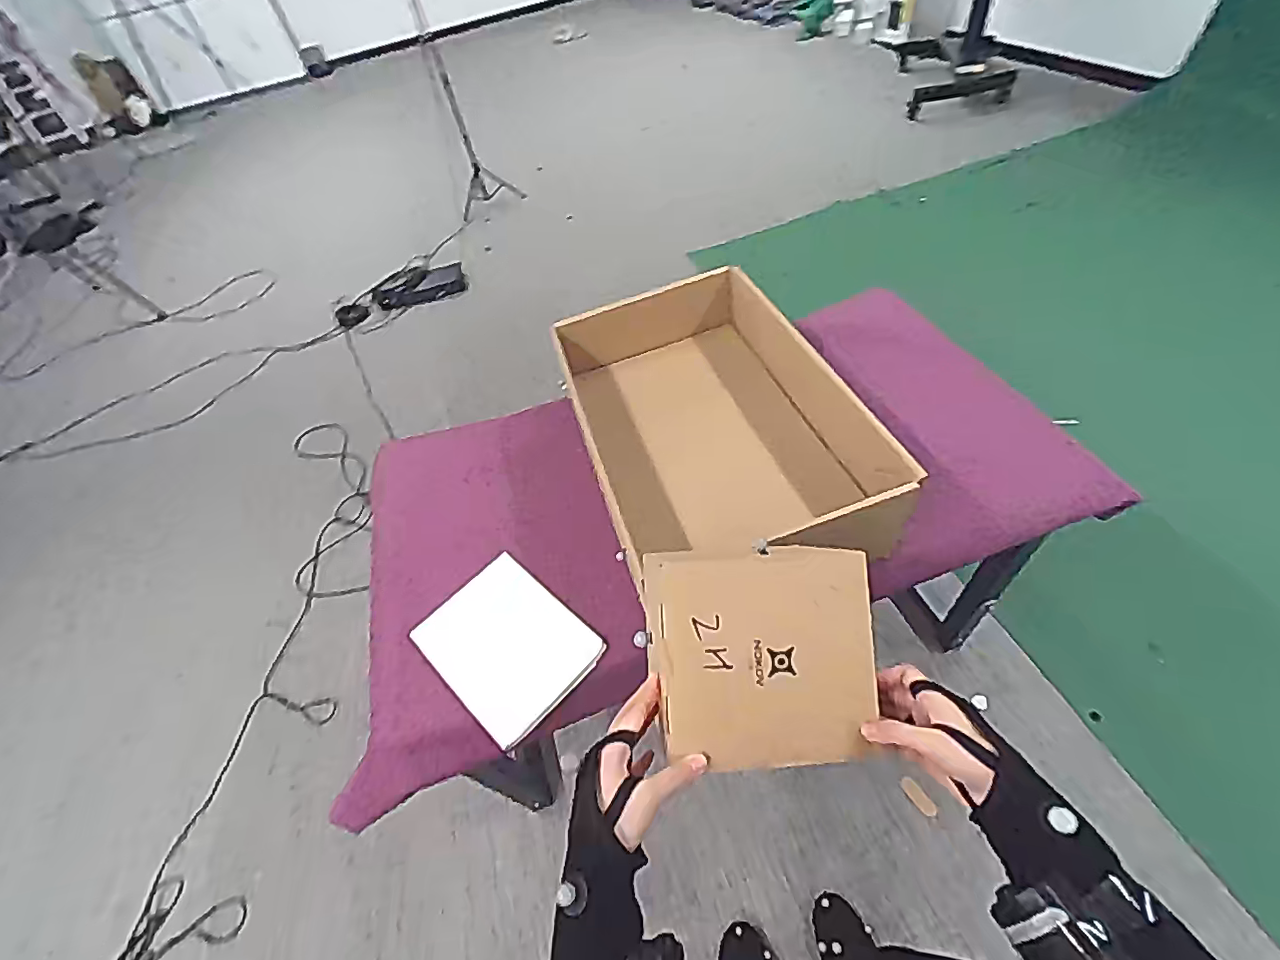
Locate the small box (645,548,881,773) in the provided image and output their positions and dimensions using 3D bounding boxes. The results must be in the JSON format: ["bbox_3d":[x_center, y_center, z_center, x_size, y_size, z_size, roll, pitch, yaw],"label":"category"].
[{"bbox_3d":[0.100,0.152,0.511,0.179,0.176,0.168,-2,84,-3],"label":"small box"}]
